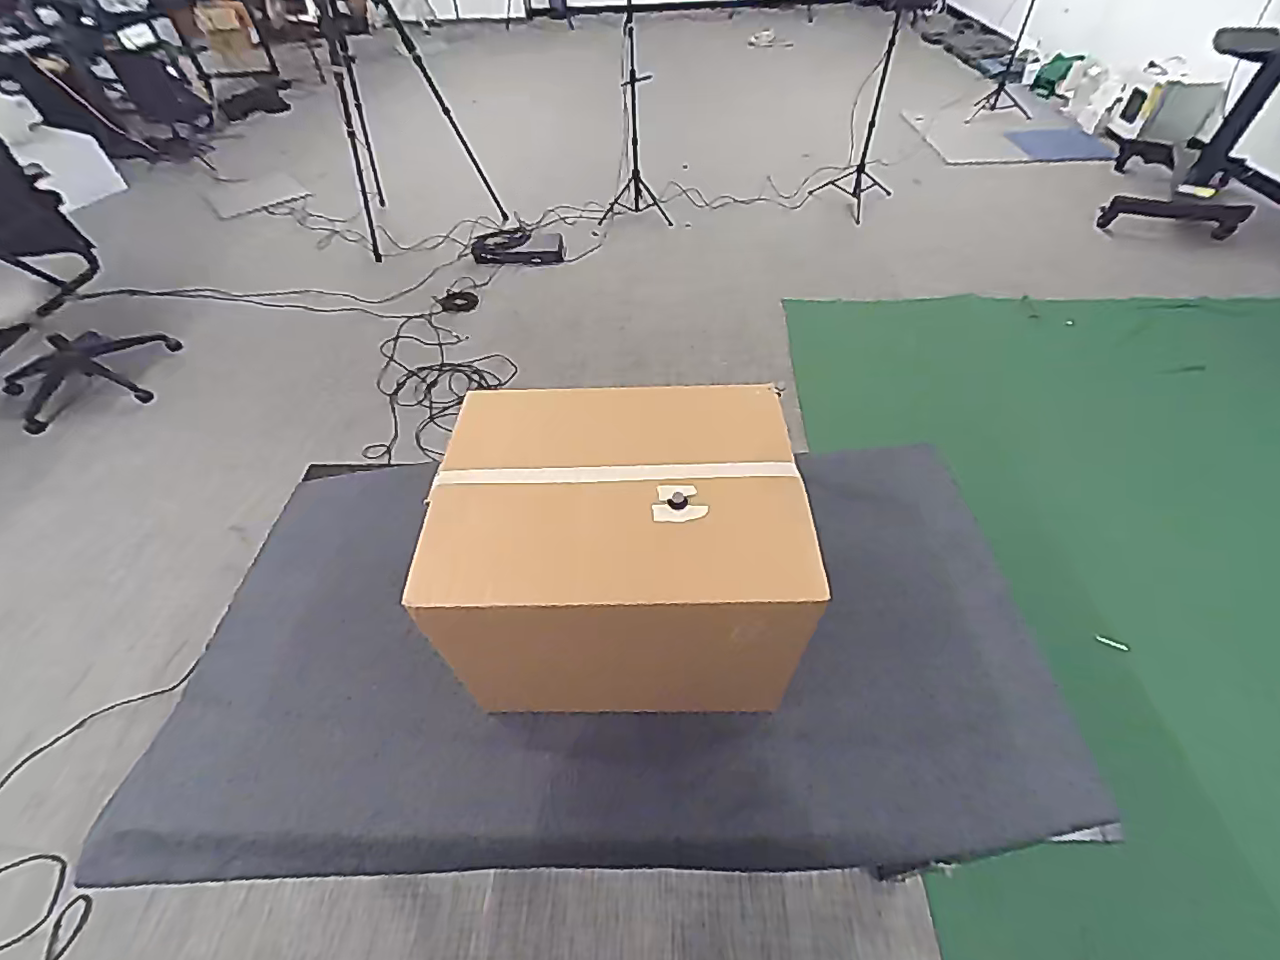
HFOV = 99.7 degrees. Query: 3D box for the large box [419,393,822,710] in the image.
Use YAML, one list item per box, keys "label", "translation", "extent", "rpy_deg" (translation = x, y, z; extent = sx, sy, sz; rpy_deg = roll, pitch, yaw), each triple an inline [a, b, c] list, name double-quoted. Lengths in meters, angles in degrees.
- label: "large box"
  translation: [-0.020, 0.102, 0.732]
  extent: [0.408, 0.320, 0.320]
  rpy_deg: [-1, 50, 1]
